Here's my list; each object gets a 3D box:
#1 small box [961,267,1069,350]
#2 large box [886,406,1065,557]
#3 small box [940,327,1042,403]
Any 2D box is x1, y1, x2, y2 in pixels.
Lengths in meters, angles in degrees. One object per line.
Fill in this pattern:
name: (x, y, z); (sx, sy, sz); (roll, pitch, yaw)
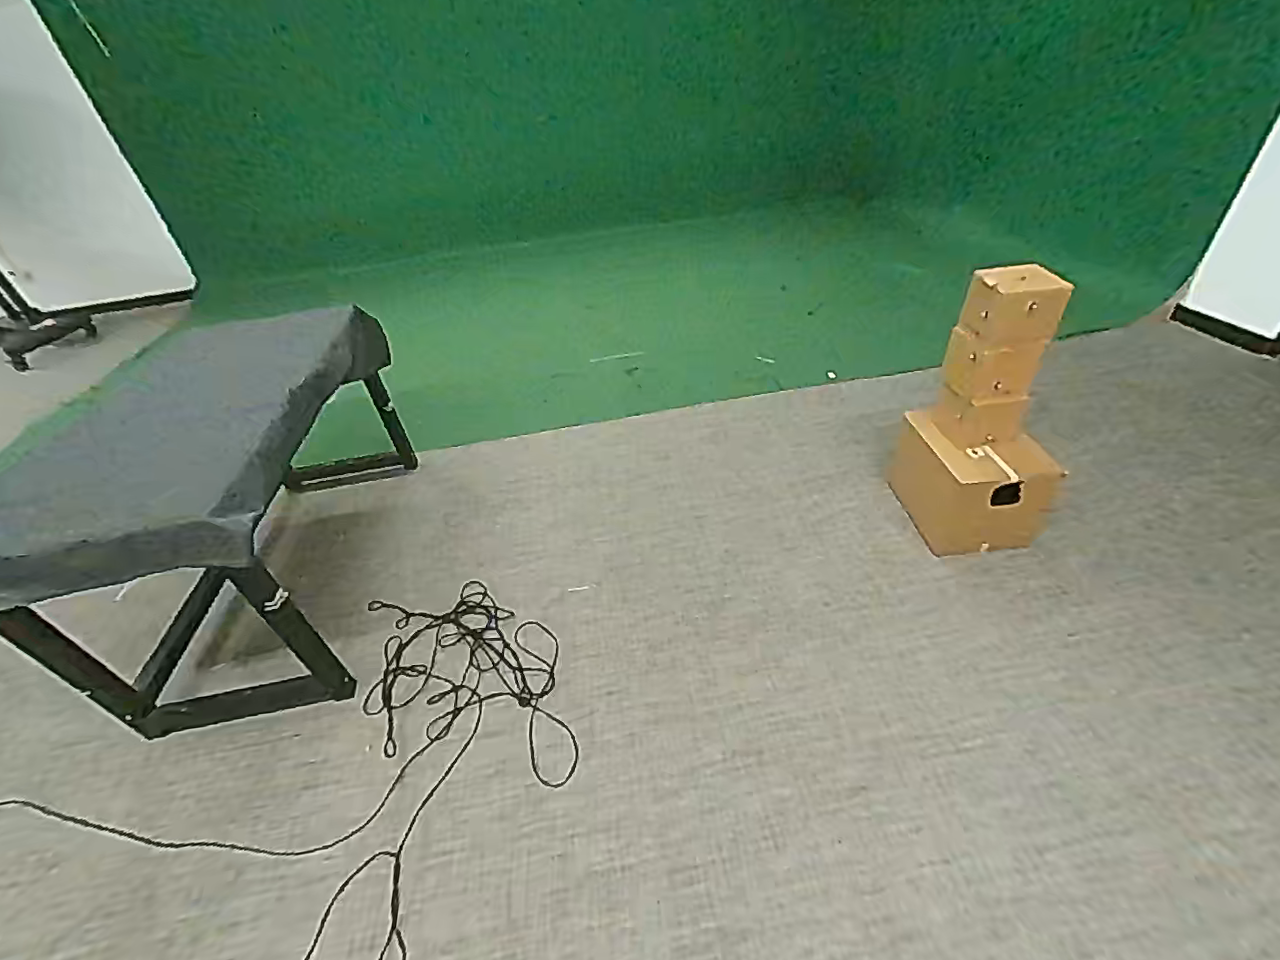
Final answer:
small box: (1.025, -0.474, 1.503); (0.179, 0.176, 0.168); (-5, 41, 1)
large box: (1.088, -0.003, 1.821); (0.320, 0.320, 0.408); (-7, 40, 1)
small box: (1.029, -0.348, 1.606); (0.168, 0.176, 0.179); (-8, 40, -1)
